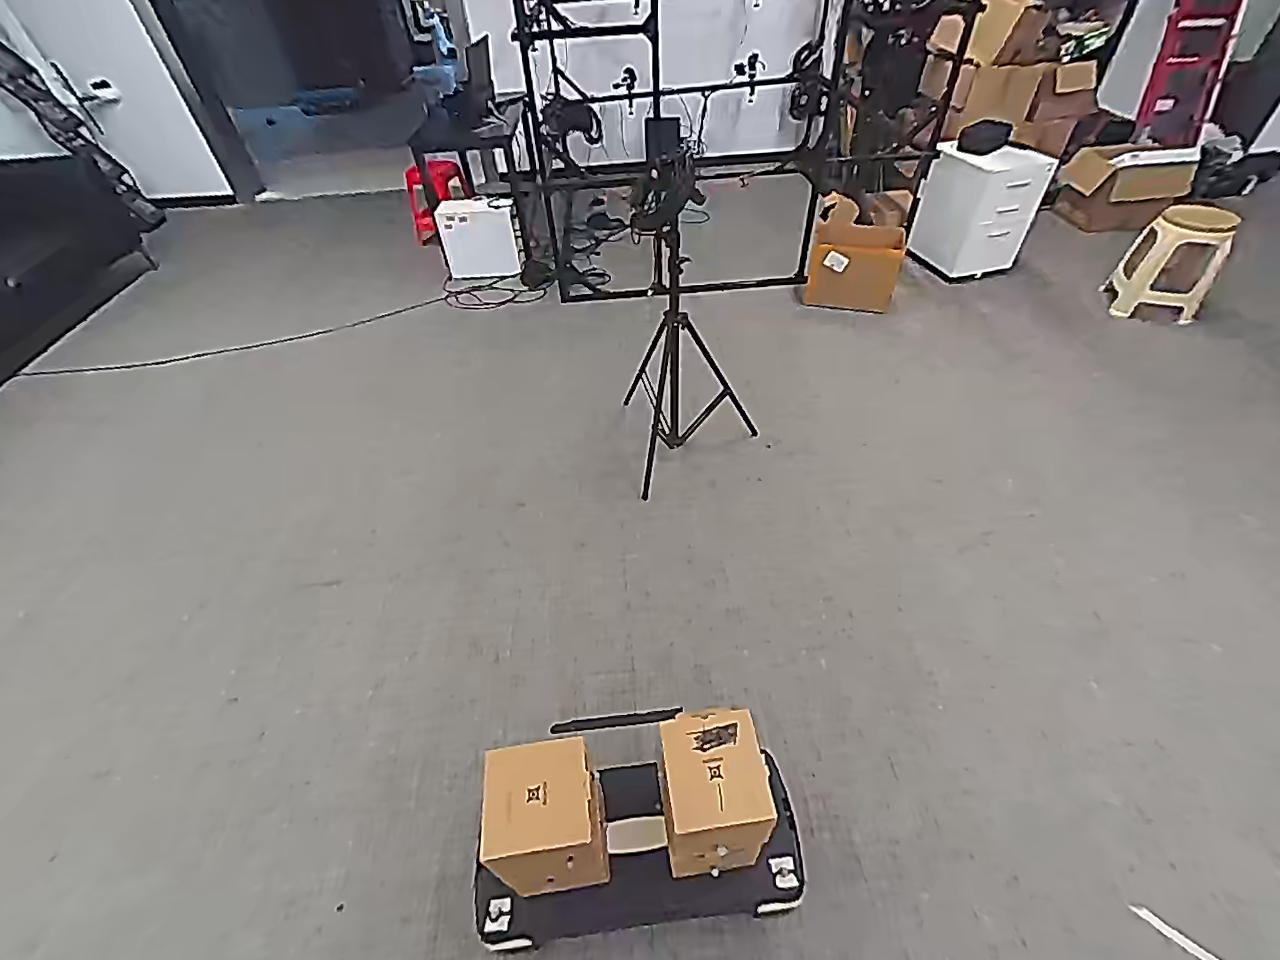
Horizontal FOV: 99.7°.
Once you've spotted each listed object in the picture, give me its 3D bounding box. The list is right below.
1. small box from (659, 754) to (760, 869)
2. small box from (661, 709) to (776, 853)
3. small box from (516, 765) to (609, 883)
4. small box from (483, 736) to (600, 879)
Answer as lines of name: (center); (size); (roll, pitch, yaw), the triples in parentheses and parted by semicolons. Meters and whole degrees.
small box: (0.130, 0.658, 1.081); (0.168, 0.176, 0.179); (-8, 45, -2)
small box: (0.130, 0.538, 0.968); (0.168, 0.176, 0.179); (-8, 46, -3)
small box: (-0.158, 0.691, 1.069); (0.179, 0.176, 0.168); (-8, 45, -4)
small box: (-0.166, 0.577, 0.952); (0.179, 0.176, 0.168); (-8, 44, -4)
